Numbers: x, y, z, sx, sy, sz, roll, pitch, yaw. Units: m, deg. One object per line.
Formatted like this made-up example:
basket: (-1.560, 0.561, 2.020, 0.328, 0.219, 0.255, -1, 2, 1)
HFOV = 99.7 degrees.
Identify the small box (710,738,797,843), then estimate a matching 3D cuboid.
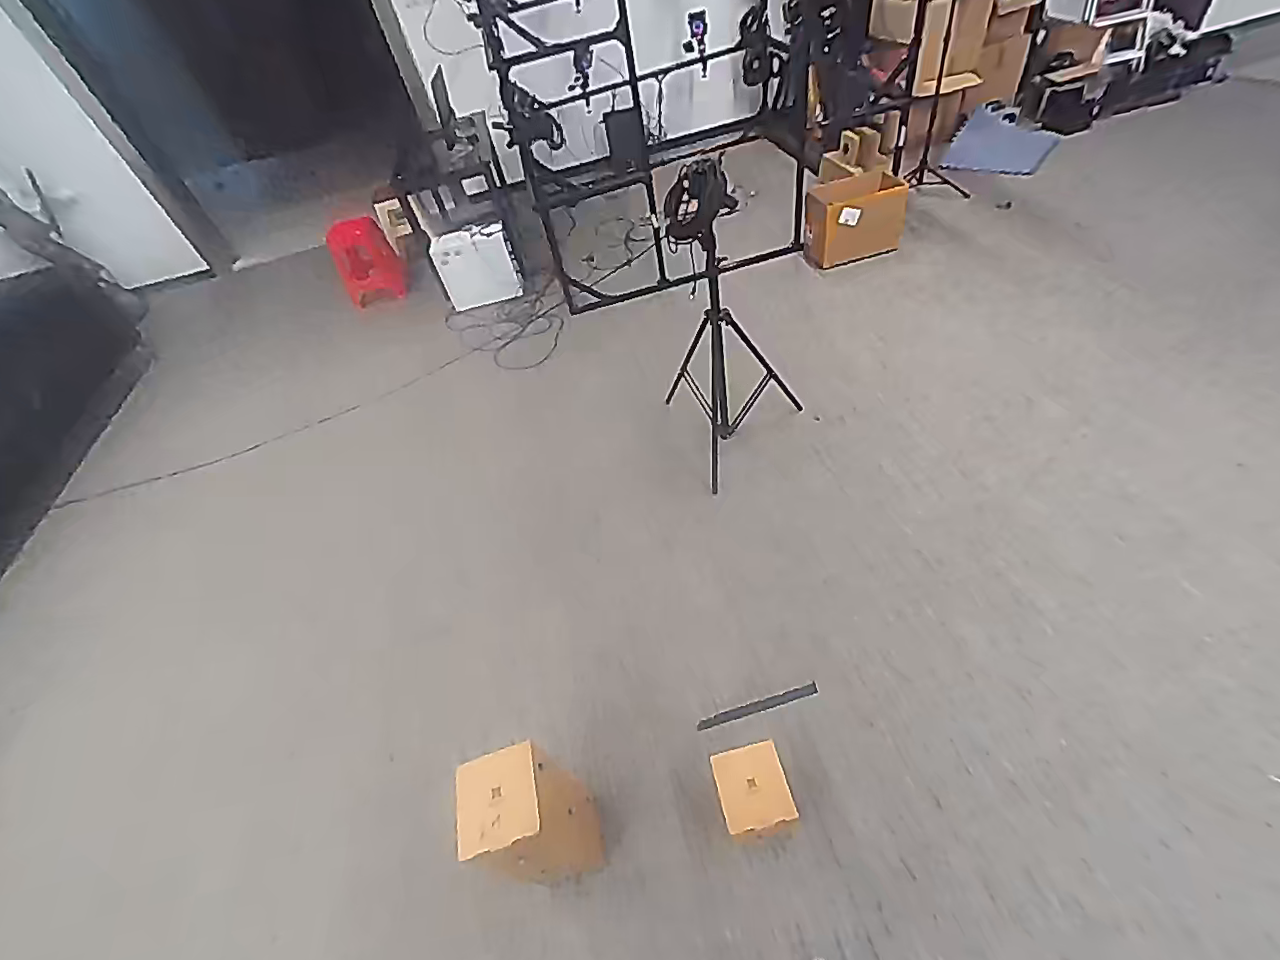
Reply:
small box: (0.279, 0.776, 1.349, 0.168, 0.176, 0.179, -15, 47, 0)

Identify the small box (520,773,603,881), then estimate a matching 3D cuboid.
small box: (-0.204, 0.881, 1.371, 0.168, 0.176, 0.179, -19, 46, -2)

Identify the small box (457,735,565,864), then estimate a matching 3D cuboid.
small box: (-0.268, 0.669, 1.129, 0.168, 0.176, 0.179, -19, 47, -2)
